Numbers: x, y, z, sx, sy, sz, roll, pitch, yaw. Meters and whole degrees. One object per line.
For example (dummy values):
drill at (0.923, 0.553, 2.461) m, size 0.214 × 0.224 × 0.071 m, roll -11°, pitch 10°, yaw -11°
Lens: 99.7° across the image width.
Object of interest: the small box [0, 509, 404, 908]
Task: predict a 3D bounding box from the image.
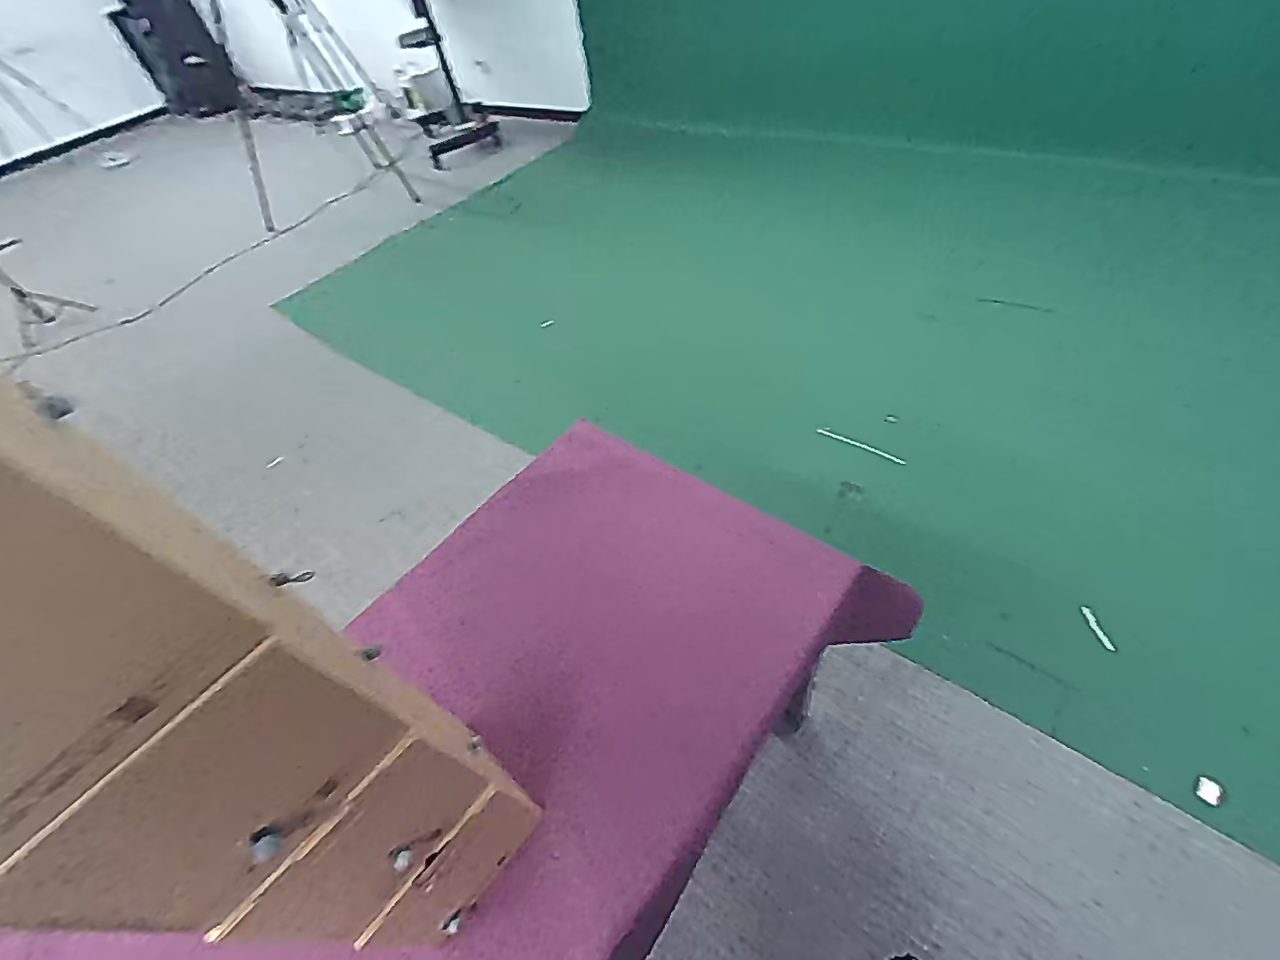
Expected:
small box at (-0.308, 0.158, 0.378) m, size 0.179 × 0.176 × 0.168 m, roll 29°, pitch 61°, yaw 31°

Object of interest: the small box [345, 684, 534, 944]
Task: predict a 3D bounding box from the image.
small box at (-0.249, 0.374, 0.616) m, size 0.179 × 0.176 × 0.168 m, roll 29°, pitch 60°, yaw 31°

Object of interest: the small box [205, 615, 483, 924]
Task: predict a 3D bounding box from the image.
small box at (-0.281, 0.266, 0.497) m, size 0.179 × 0.176 × 0.168 m, roll 29°, pitch 61°, yaw 30°
